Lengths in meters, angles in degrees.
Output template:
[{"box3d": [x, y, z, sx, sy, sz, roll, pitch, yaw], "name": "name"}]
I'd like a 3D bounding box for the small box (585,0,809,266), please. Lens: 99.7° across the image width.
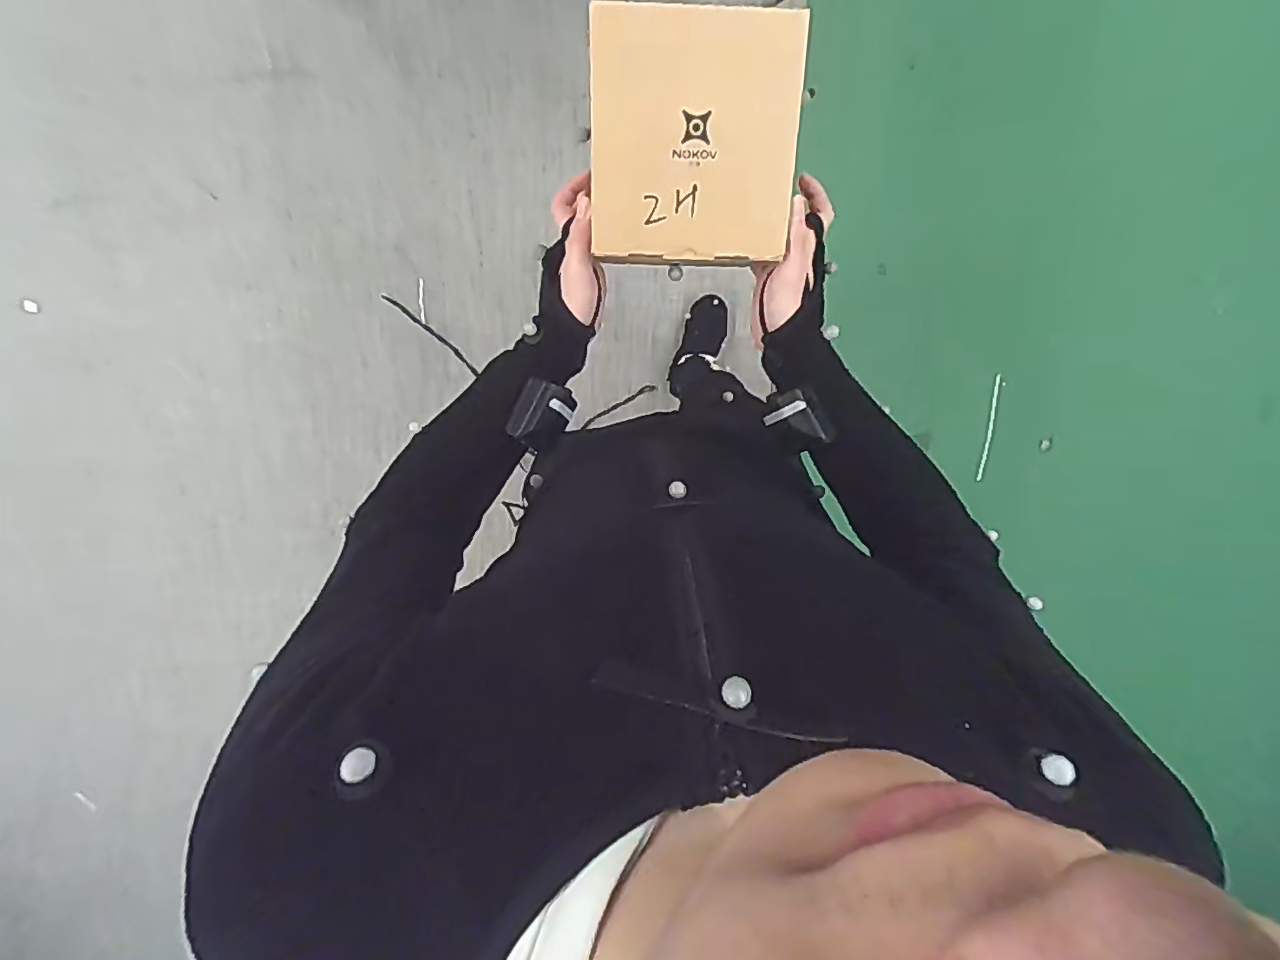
[{"box3d": [0.037, -0.295, 0.491, 0.168, 0.176, 0.179, 1, 110, -1], "name": "small box"}]
